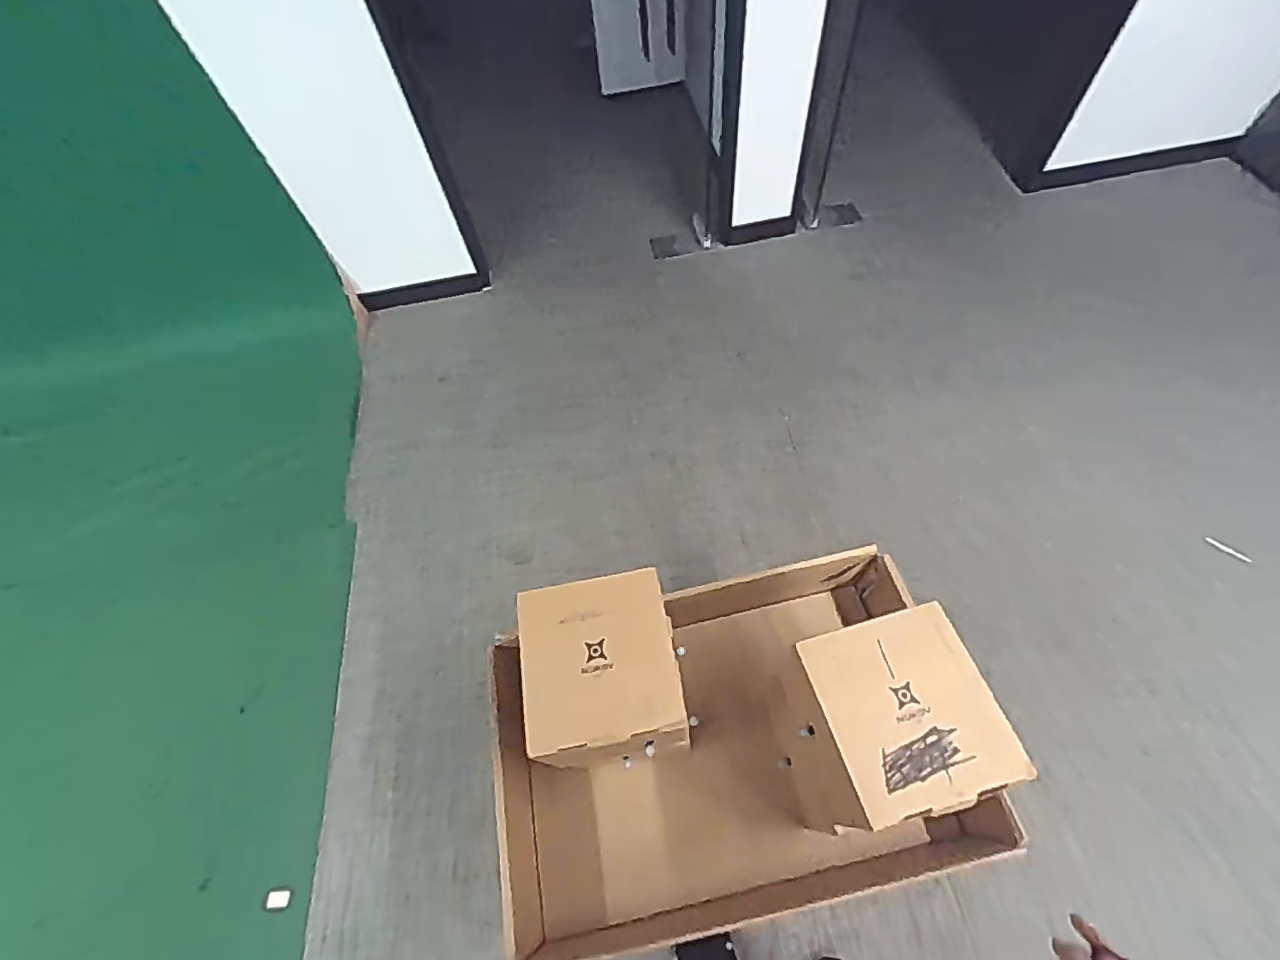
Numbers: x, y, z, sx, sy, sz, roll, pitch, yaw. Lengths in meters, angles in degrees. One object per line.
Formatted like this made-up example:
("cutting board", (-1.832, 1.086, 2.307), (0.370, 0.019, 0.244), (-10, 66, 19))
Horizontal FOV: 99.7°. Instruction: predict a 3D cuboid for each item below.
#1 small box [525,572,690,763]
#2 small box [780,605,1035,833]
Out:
("small box", (-0.035, 0.233, 0.651), (0.168, 0.176, 0.179), (-10, 59, -2))
("small box", (0.272, 0.265, 0.601), (0.168, 0.176, 0.179), (-16, 59, -4))
